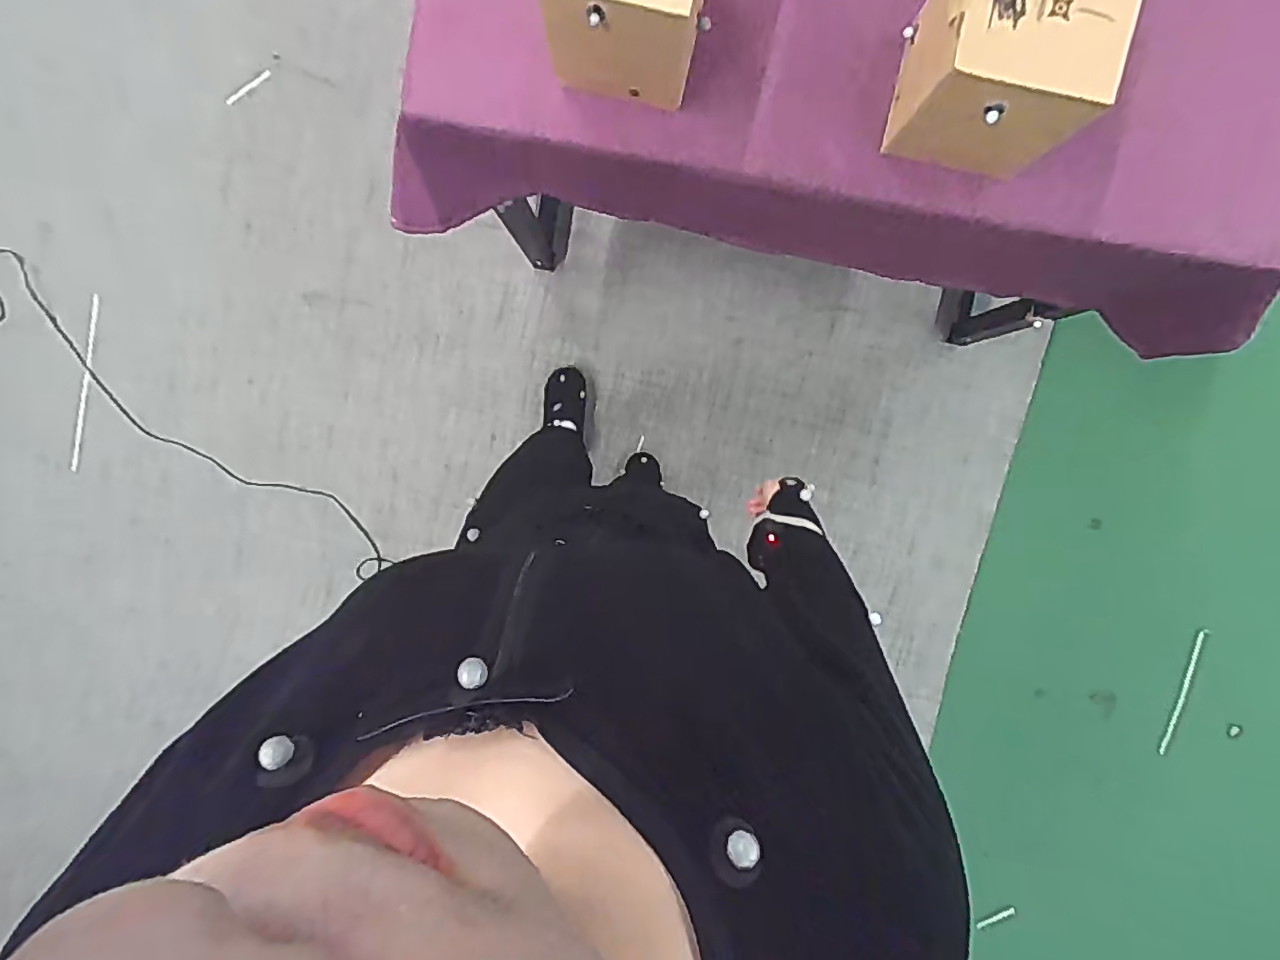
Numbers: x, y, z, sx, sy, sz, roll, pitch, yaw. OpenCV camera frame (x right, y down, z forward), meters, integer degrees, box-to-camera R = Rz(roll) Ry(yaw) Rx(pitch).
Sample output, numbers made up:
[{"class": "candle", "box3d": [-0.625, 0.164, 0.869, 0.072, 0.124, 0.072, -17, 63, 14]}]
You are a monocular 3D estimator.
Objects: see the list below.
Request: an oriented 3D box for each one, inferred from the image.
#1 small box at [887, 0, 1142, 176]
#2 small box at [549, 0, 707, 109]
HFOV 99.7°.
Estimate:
[{"class": "small box", "box3d": [0.419, -0.485, 0.627, 0.179, 0.176, 0.168, 12, 96, -1]}, {"class": "small box", "box3d": [-0.006, -0.581, 0.623, 0.168, 0.176, 0.179, 13, 95, 0]}]
